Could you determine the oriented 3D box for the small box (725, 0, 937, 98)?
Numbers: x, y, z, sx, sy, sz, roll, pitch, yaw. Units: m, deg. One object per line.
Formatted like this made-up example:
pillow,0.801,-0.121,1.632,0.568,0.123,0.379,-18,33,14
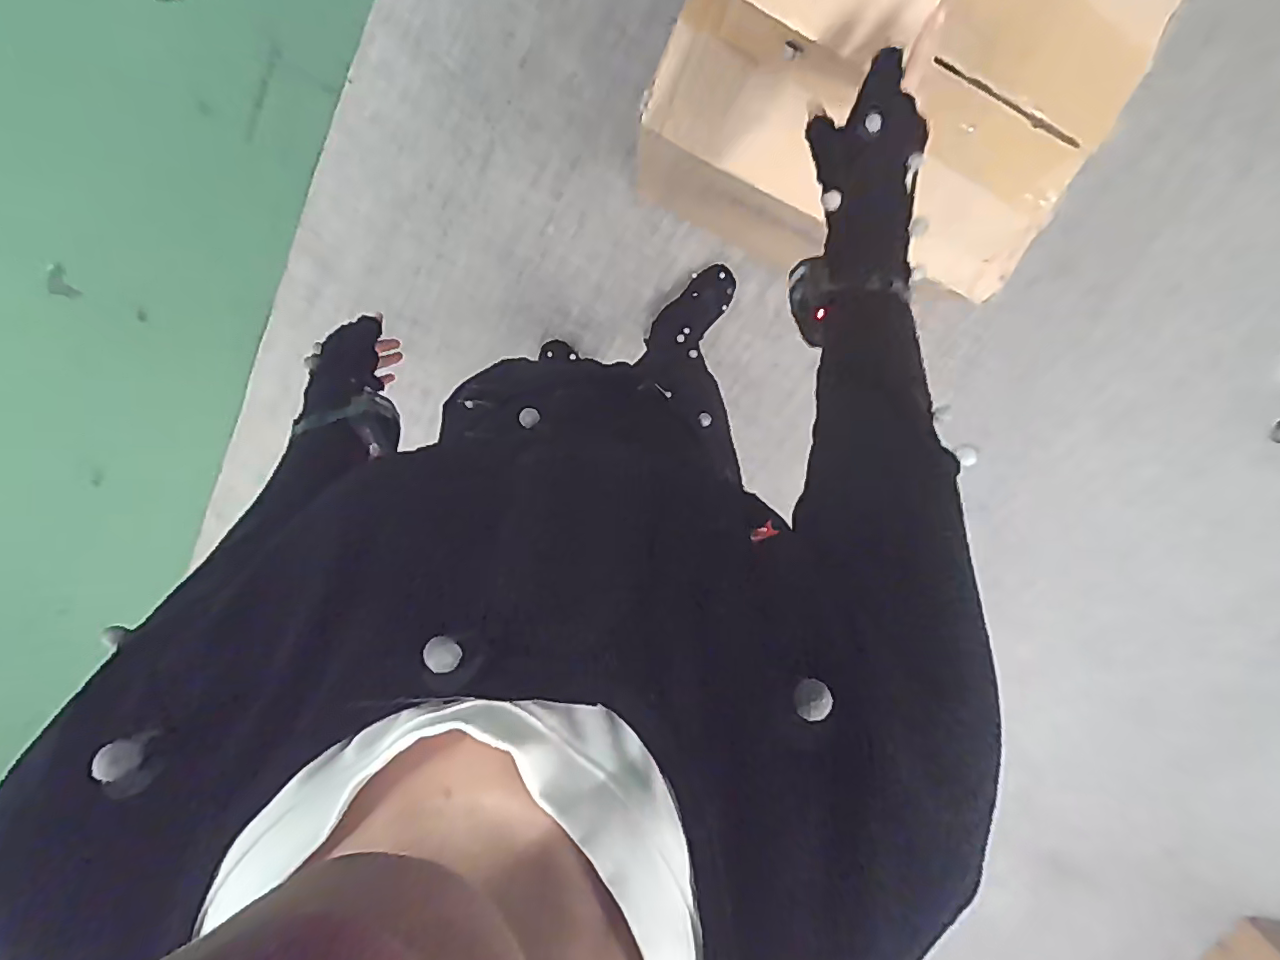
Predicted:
small box,0.199,-0.513,0.537,0.179,0.176,0.168,23,118,-9
